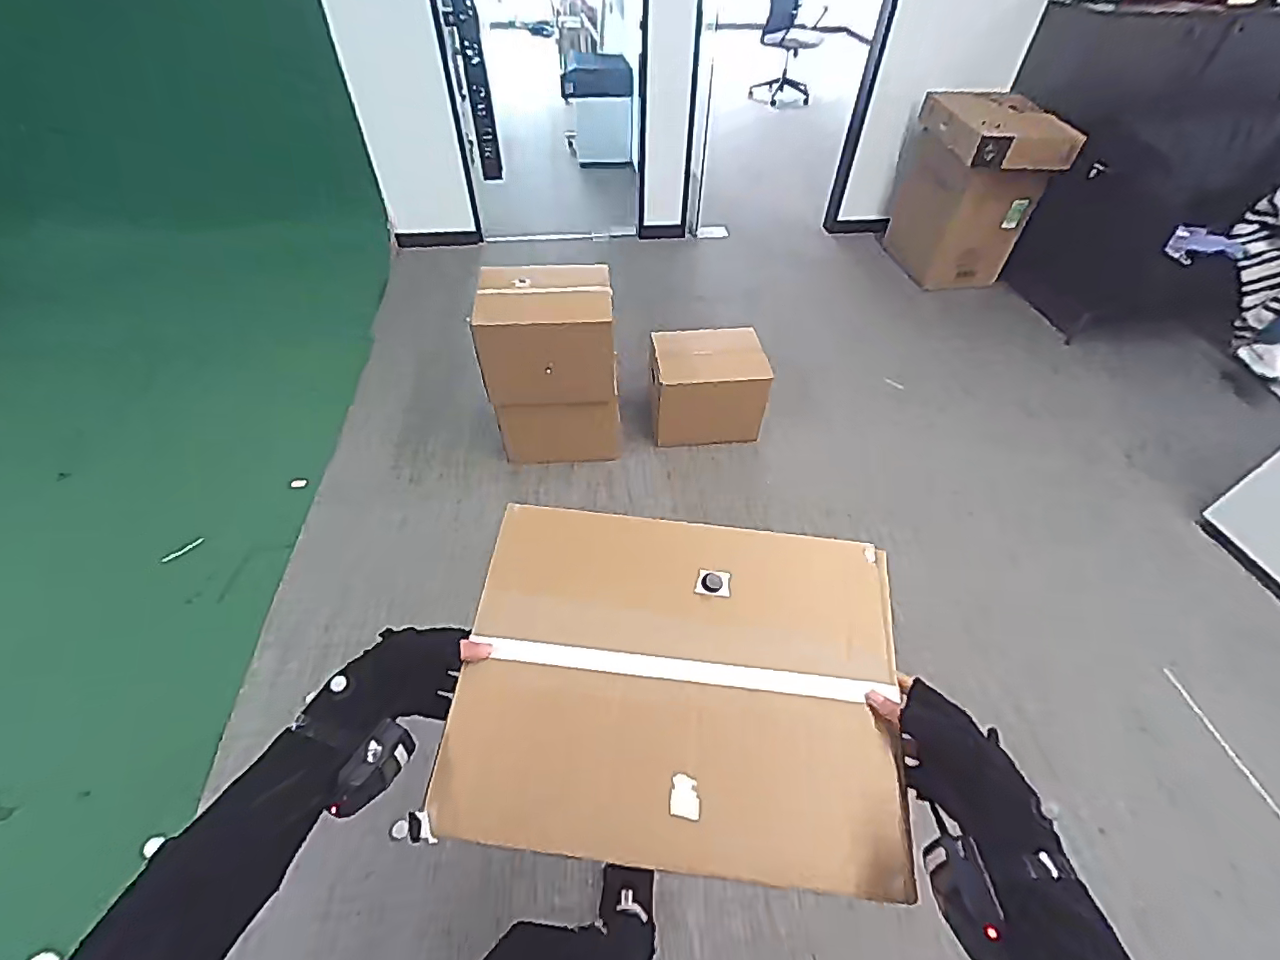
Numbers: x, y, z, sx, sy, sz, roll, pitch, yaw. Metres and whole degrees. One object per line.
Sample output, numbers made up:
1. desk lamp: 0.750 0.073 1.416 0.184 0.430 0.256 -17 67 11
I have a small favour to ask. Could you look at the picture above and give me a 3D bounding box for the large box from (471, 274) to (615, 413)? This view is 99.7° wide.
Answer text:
1. large box: -0.291 -0.435 1.738 0.408 0.320 0.320 -3 50 -3
